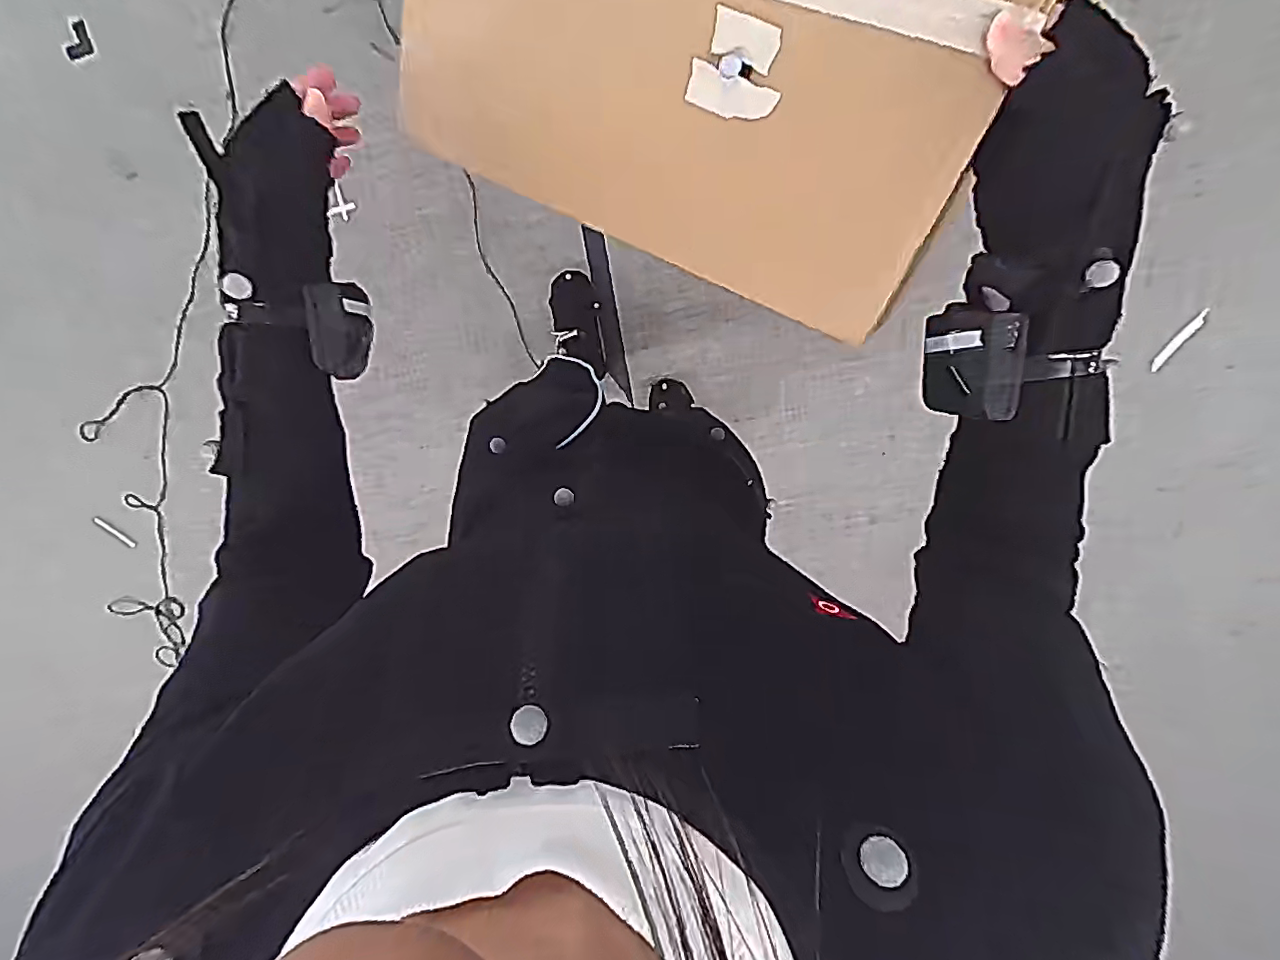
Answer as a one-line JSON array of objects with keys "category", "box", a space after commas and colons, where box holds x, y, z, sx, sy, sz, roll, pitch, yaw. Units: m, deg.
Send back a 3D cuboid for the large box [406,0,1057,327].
[{"category": "large box", "box": [0.085, -0.359, 0.441, 0.408, 0.320, 0.320, 29, 122, 14]}]
